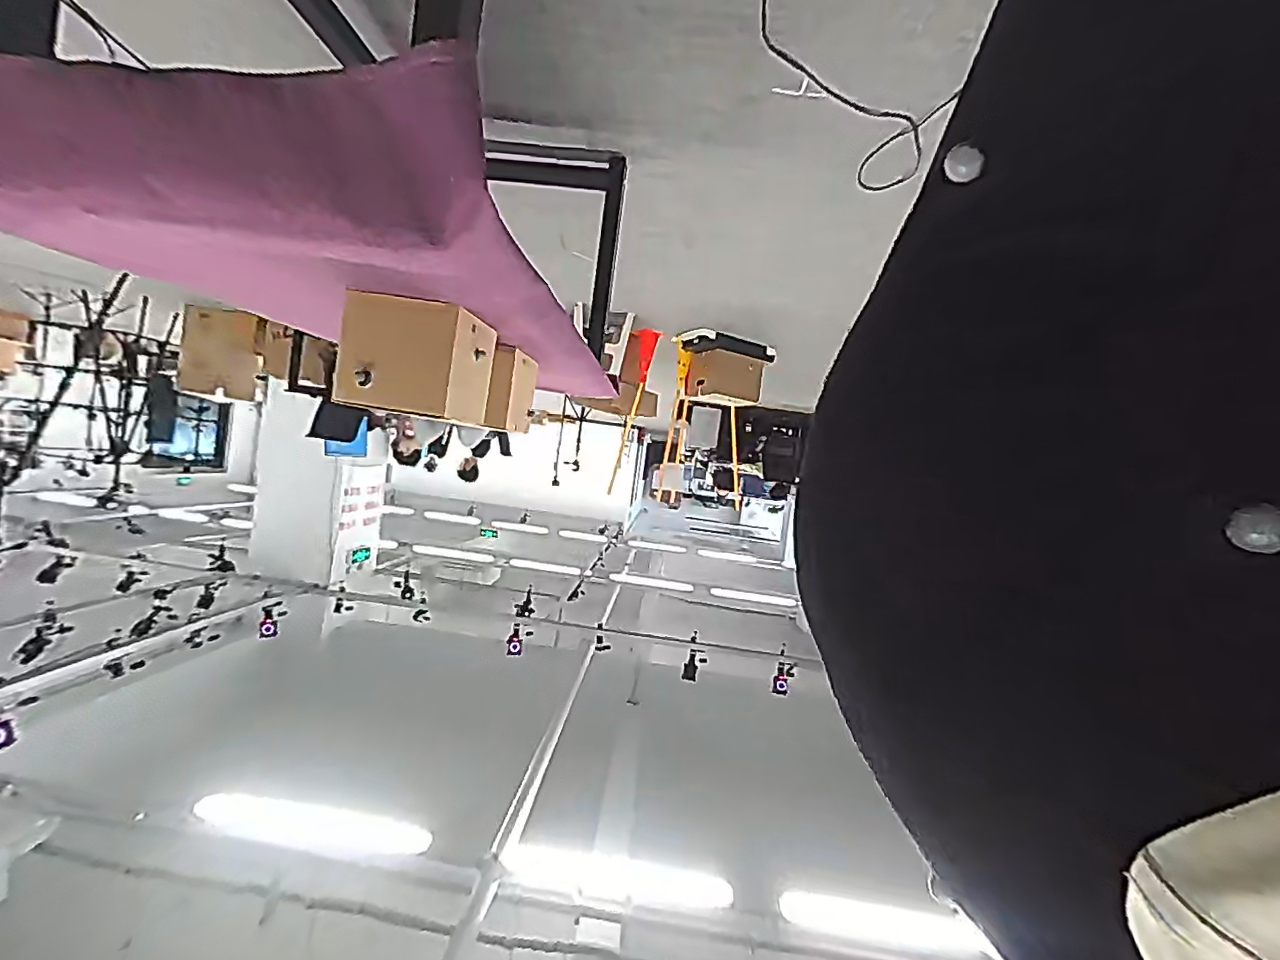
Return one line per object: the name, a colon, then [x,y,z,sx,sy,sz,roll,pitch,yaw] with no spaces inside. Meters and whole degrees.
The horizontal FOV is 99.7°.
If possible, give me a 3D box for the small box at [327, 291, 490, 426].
small box: [-0.357,-0.188,0.859,0.179,0.176,0.168,9,-177,3]
